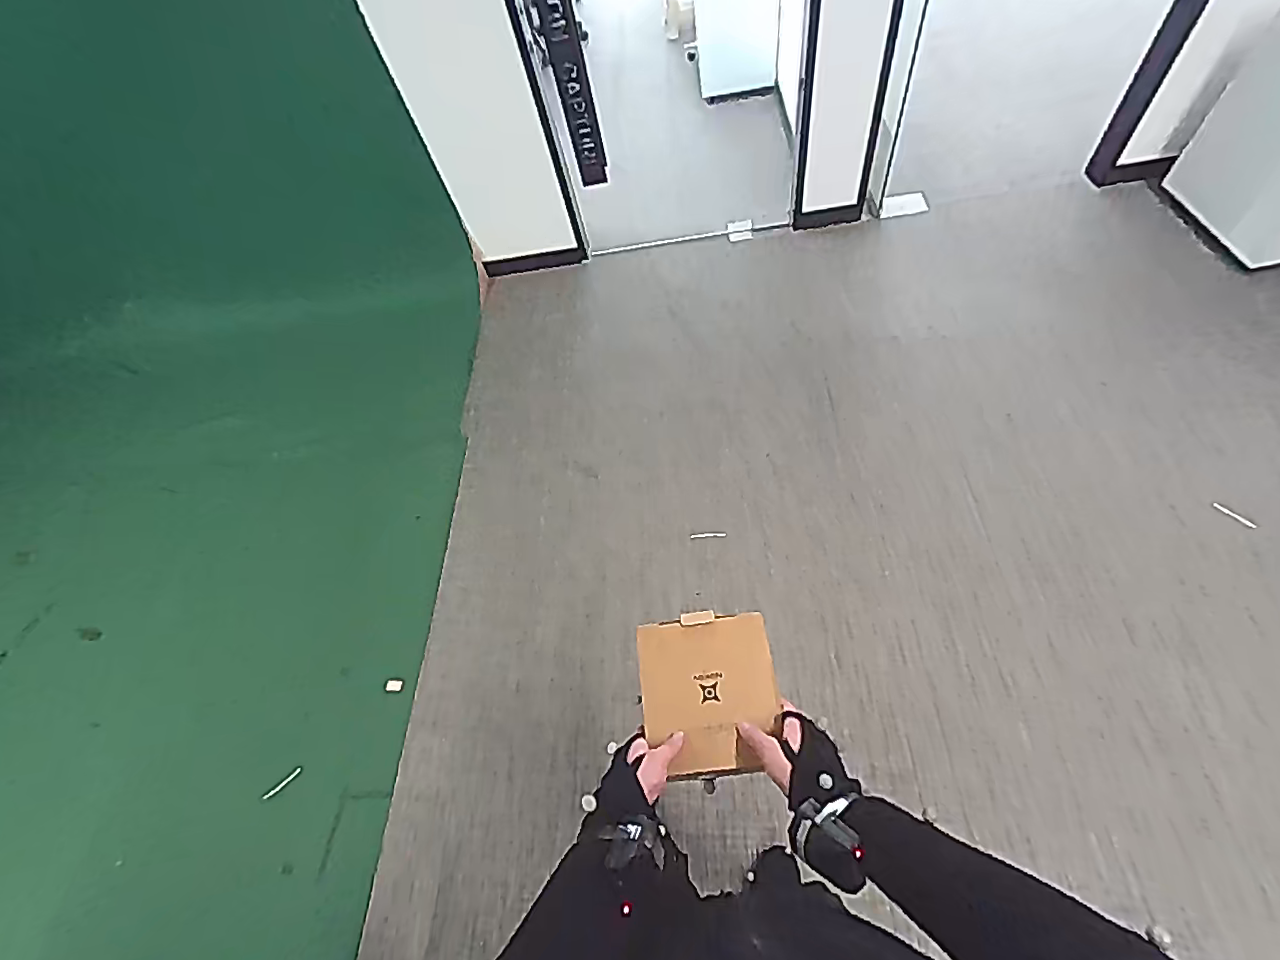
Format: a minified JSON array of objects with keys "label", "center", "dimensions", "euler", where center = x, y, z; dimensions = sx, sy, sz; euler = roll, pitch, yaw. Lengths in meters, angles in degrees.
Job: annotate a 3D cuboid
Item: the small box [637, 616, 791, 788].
[{"label":"small box","center":[0.087,0.292,0.702],"dimensions":[0.168,0.176,0.179],"euler":[-6,58,4]}]
